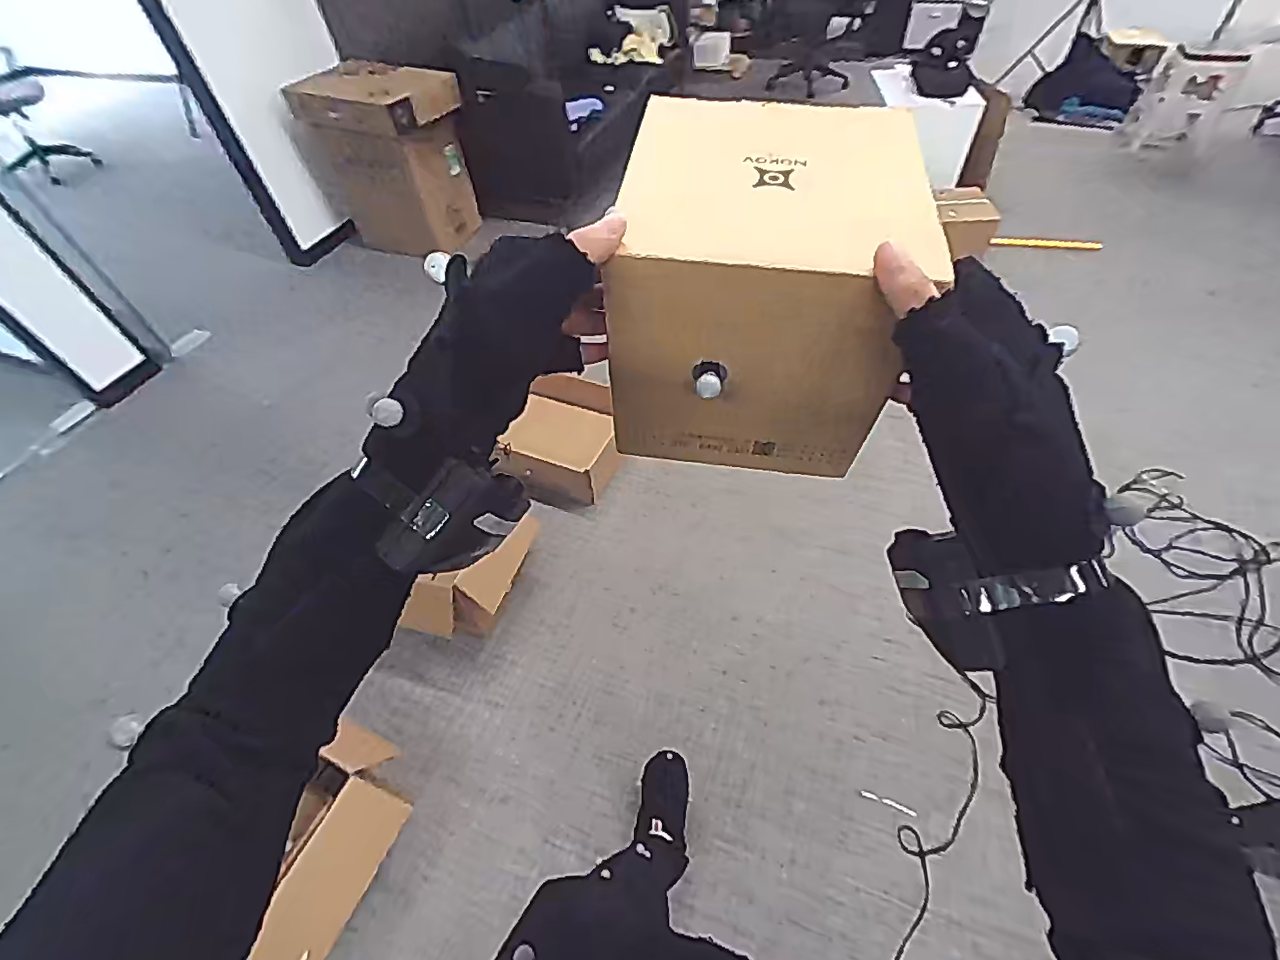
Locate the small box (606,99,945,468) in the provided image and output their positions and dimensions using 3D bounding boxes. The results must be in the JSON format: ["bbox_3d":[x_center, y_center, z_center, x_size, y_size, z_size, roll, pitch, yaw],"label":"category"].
[{"bbox_3d":[0.078,-0.127,0.371,0.168,0.176,0.179,7,57,5],"label":"small box"}]
